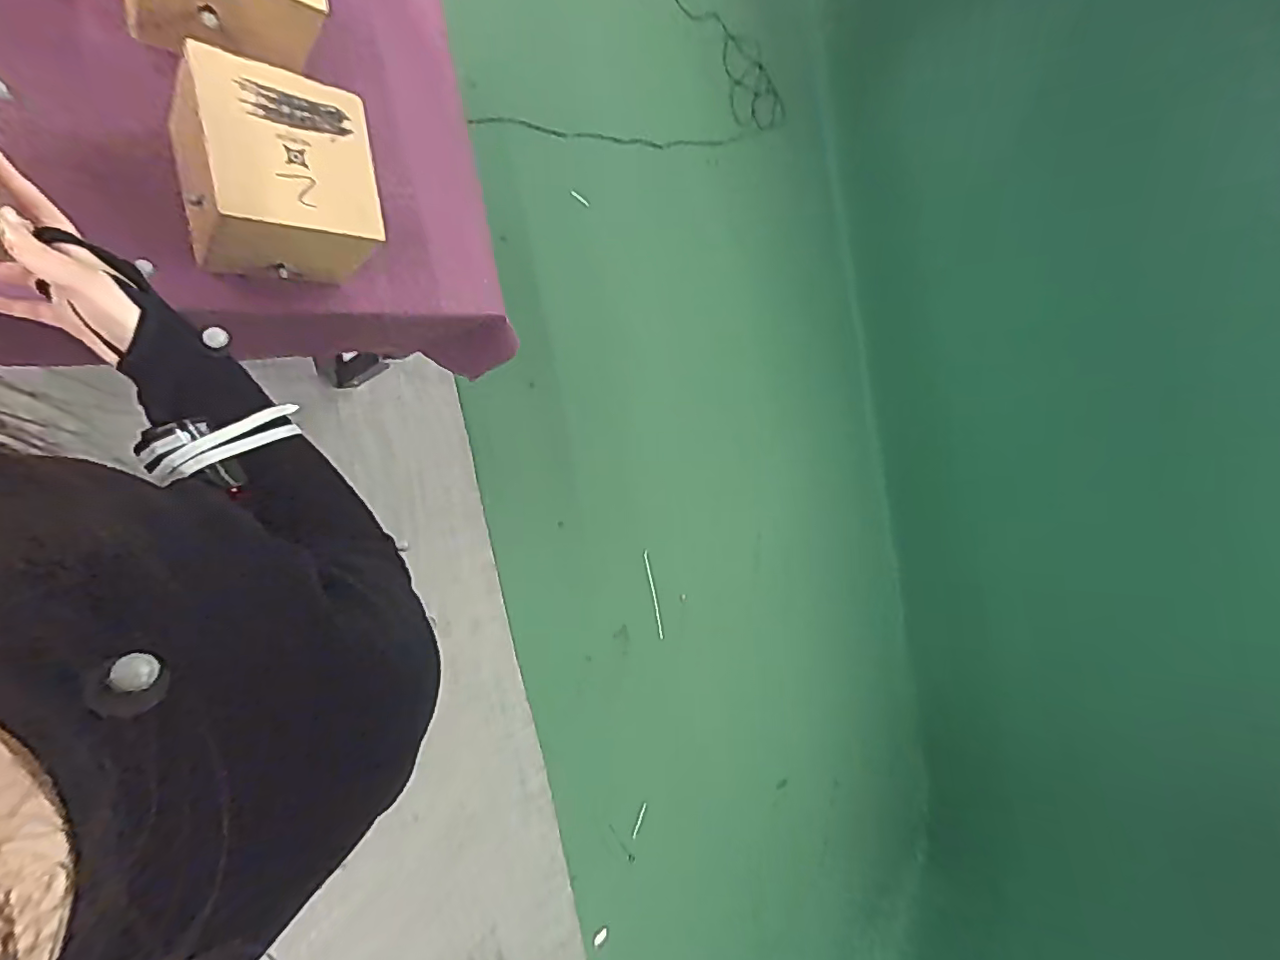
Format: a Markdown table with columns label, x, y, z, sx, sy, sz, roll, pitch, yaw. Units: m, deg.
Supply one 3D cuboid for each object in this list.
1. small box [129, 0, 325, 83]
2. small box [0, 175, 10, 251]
| label | x | y | z | sx | sy | sz | roll | pitch | yaw |
| --- | --- | --- | --- | --- | --- | --- | --- | --- | --- |
| small box | -0.489 | -0.615 | 0.626 | 0.168 | 0.176 | 0.179 | -12 | 94 | -44 |
| small box | -0.458 | -0.227 | 0.271 | 0.168 | 0.176 | 0.179 | -12 | 102 | -47 |
